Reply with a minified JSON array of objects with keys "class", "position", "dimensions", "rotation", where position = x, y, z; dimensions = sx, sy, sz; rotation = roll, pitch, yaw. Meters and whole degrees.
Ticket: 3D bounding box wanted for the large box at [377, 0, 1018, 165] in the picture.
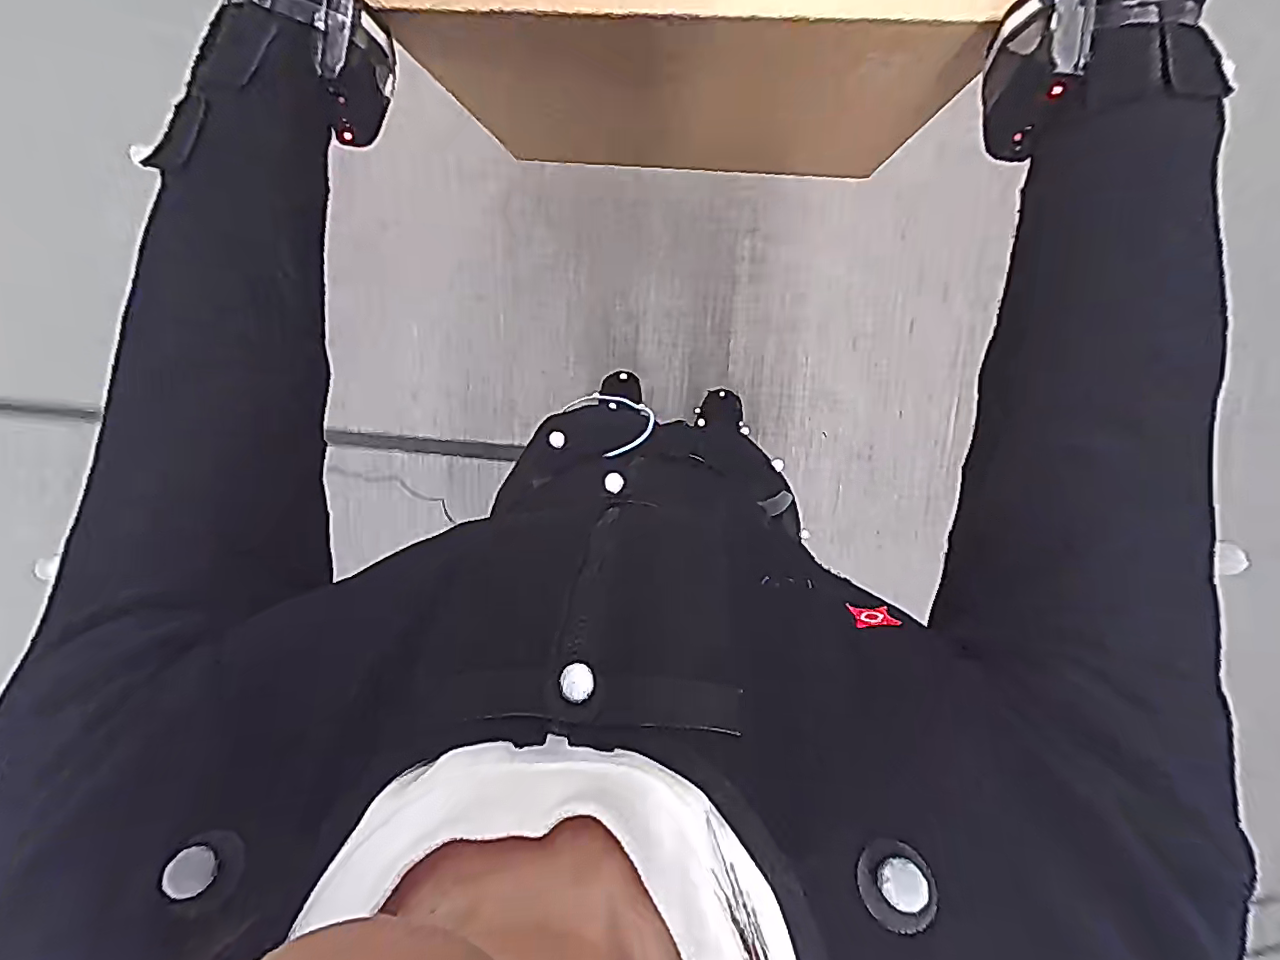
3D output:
[{"class":"large box","position":[0.044,-0.471,0.436],"dimensions":[0.408,0.320,0.320],"rotation":[4,106,4]}]
